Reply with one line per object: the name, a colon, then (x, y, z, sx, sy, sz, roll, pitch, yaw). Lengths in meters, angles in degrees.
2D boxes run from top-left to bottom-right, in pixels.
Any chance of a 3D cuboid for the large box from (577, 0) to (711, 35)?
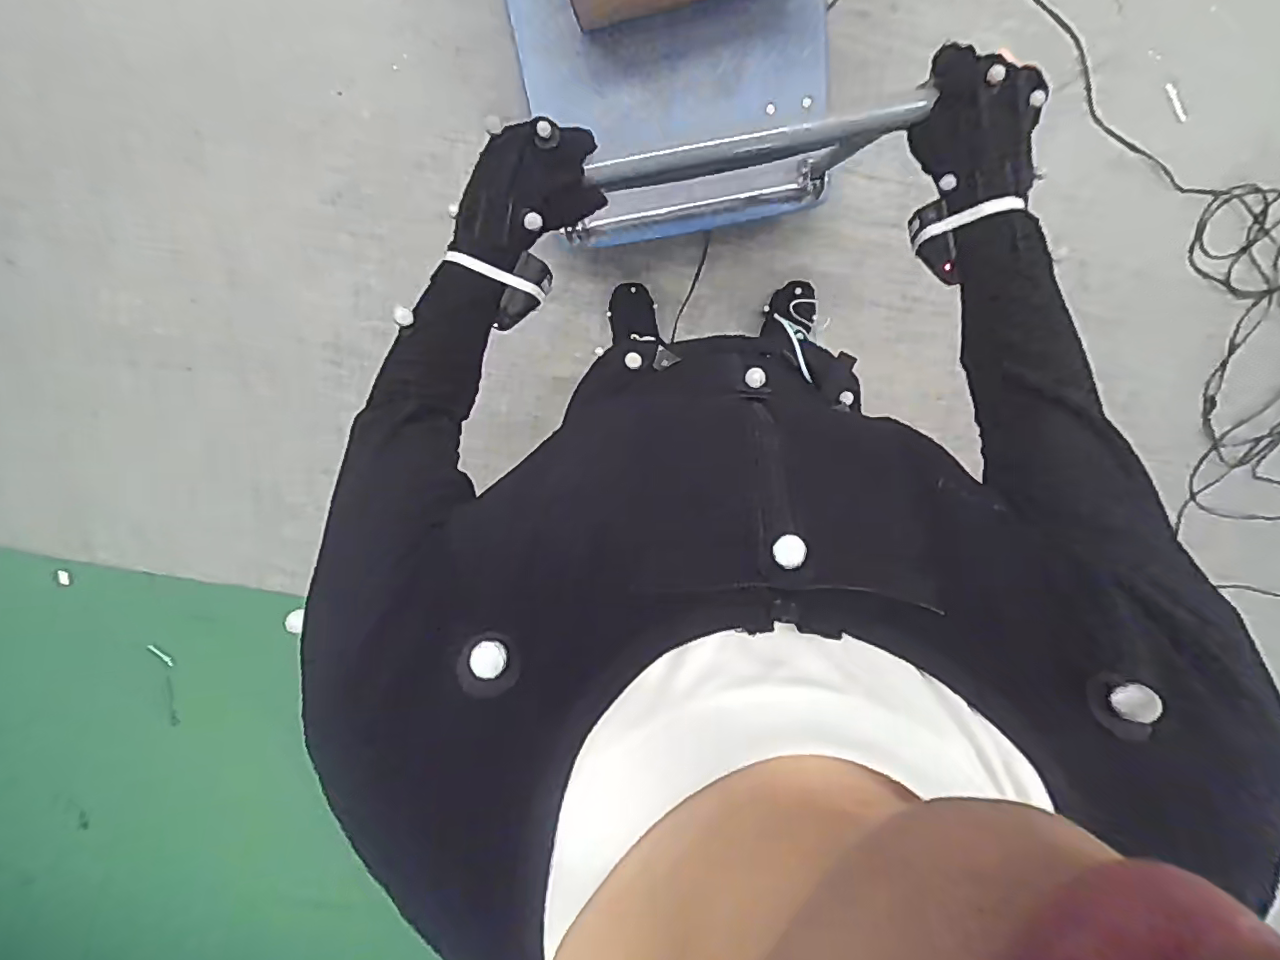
large box: (0.062, -0.945, 0.800, 0.408, 0.320, 0.320, -11, 112, 6)
